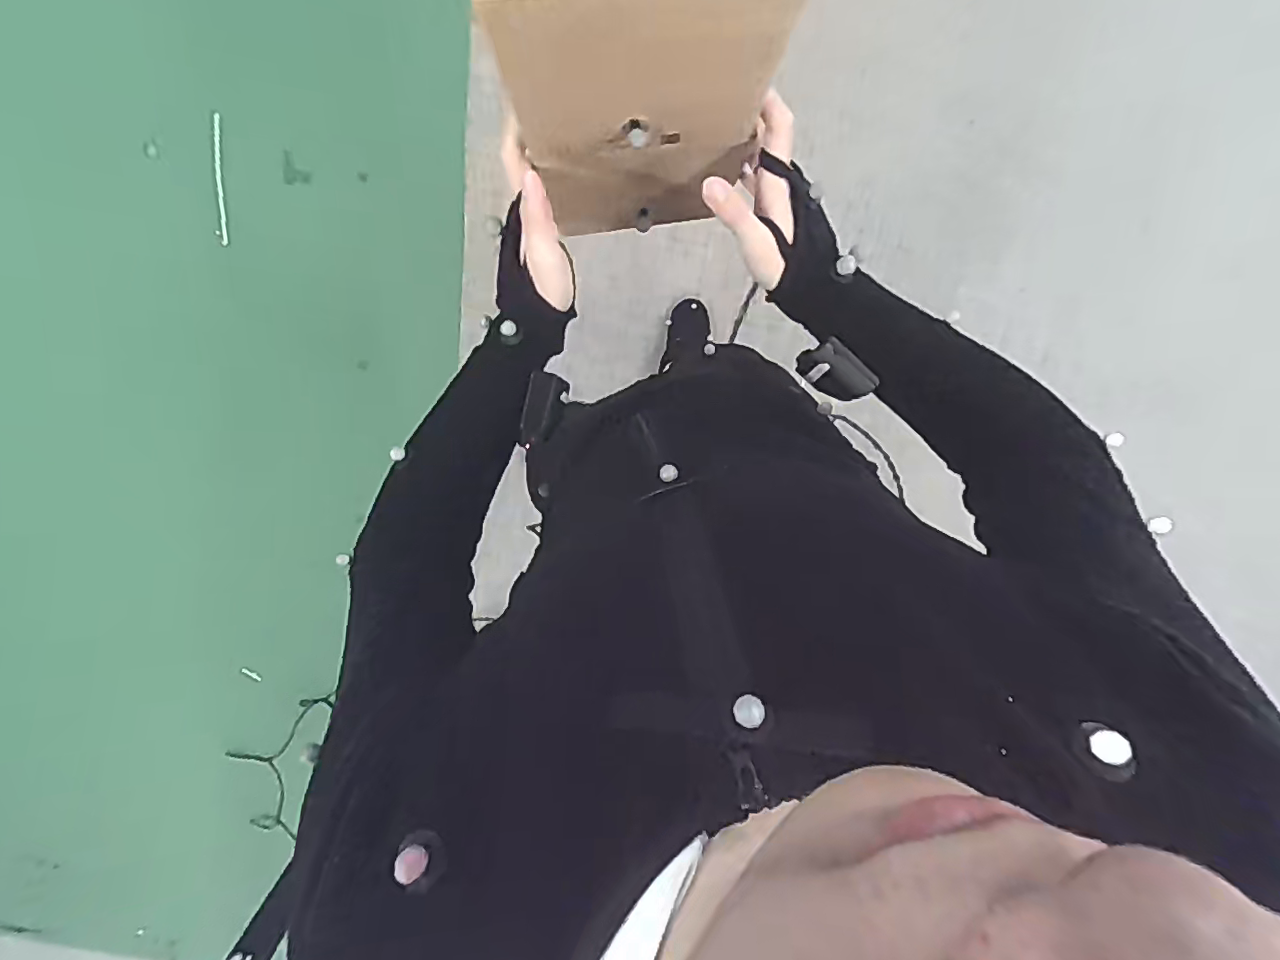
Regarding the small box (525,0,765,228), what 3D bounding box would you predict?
[{"bbox_3d":[-0.001,-0.345,0.484,0.179,0.176,0.168,-7,95,-2],"label":"small box"}]
